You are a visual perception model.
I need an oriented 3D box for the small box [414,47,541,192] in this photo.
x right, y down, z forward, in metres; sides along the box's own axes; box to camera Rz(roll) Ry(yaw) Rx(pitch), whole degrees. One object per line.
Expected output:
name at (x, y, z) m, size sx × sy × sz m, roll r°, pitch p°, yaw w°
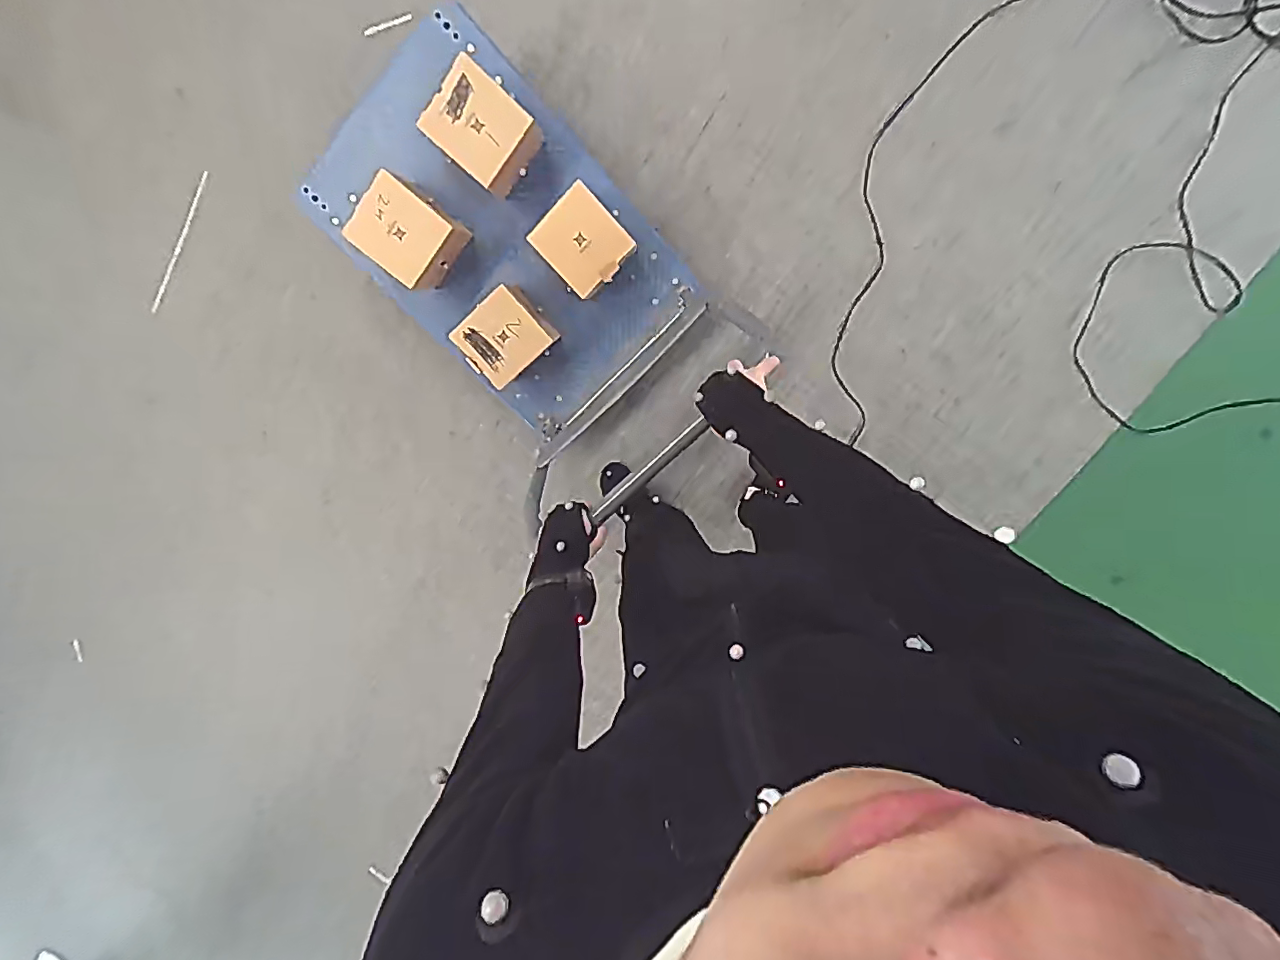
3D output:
small box at (-0.331, -0.741, 1.139) m, size 0.179 × 0.176 × 0.168 m, roll 38°, pitch 105°, yaw -15°

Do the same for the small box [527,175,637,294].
small box at (-0.127, -0.542, 1.220) m, size 0.168 × 0.176 × 0.179 m, roll -43°, pitch 106°, yaw 13°

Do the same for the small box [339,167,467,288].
small box at (-0.513, -0.552, 1.202) m, size 0.179 × 0.176 × 0.168 m, roll 38°, pitch 104°, yaw -14°
